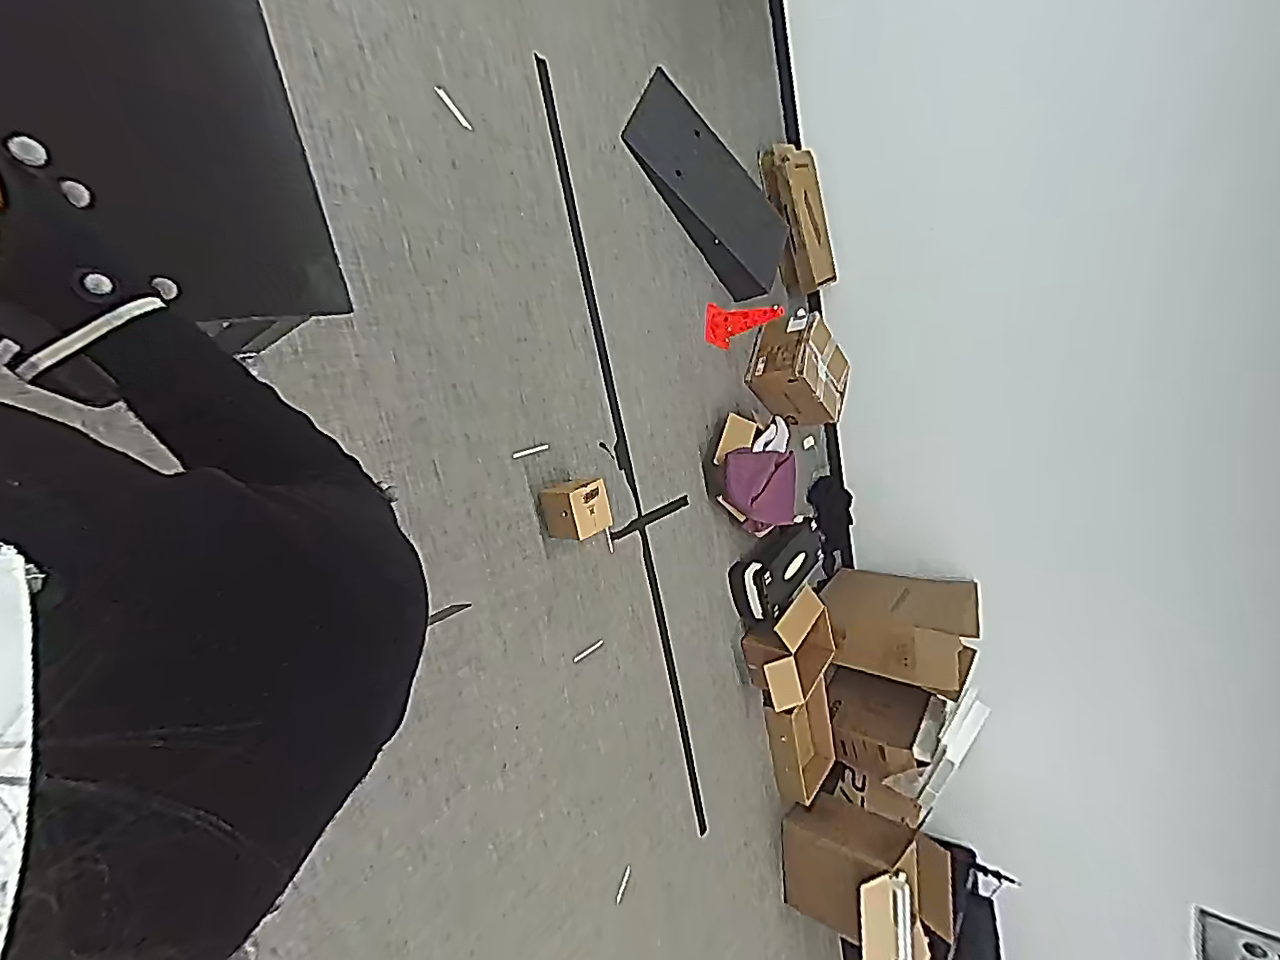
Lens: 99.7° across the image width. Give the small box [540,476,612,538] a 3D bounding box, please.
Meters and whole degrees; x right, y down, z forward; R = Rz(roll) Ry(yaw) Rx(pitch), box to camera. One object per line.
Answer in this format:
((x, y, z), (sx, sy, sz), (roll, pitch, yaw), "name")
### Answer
((-0.230, 0.093, 1.907), (0.168, 0.176, 0.179), (-25, 108, -44), "small box")
